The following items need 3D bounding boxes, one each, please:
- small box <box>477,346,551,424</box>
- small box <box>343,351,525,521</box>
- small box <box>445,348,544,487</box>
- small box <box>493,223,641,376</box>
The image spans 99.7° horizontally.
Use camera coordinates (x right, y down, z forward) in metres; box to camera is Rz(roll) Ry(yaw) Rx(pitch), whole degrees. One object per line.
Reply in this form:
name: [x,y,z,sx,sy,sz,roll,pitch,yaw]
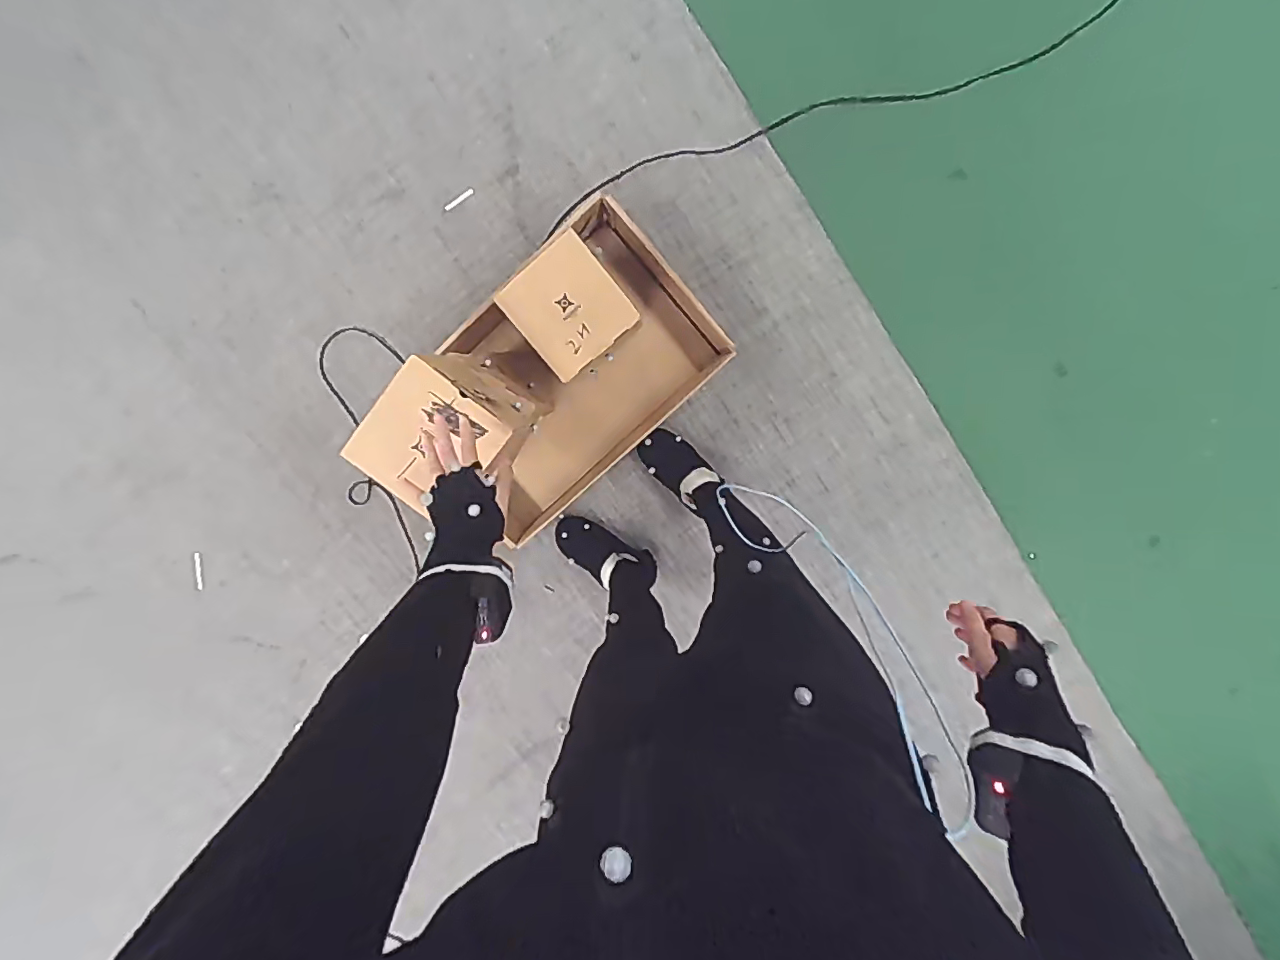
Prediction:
small box: [-0.305,-0.156,1.121,0.179,0.176,0.168,-41,100,6]
small box: [-0.289,-0.073,0.805,0.168,0.176,0.179,39,99,-9]
small box: [-0.286,-0.117,0.964,0.168,0.176,0.179,31,99,-8]
small box: [-0.114,-0.295,0.922,0.168,0.176,0.179,-39,100,9]
